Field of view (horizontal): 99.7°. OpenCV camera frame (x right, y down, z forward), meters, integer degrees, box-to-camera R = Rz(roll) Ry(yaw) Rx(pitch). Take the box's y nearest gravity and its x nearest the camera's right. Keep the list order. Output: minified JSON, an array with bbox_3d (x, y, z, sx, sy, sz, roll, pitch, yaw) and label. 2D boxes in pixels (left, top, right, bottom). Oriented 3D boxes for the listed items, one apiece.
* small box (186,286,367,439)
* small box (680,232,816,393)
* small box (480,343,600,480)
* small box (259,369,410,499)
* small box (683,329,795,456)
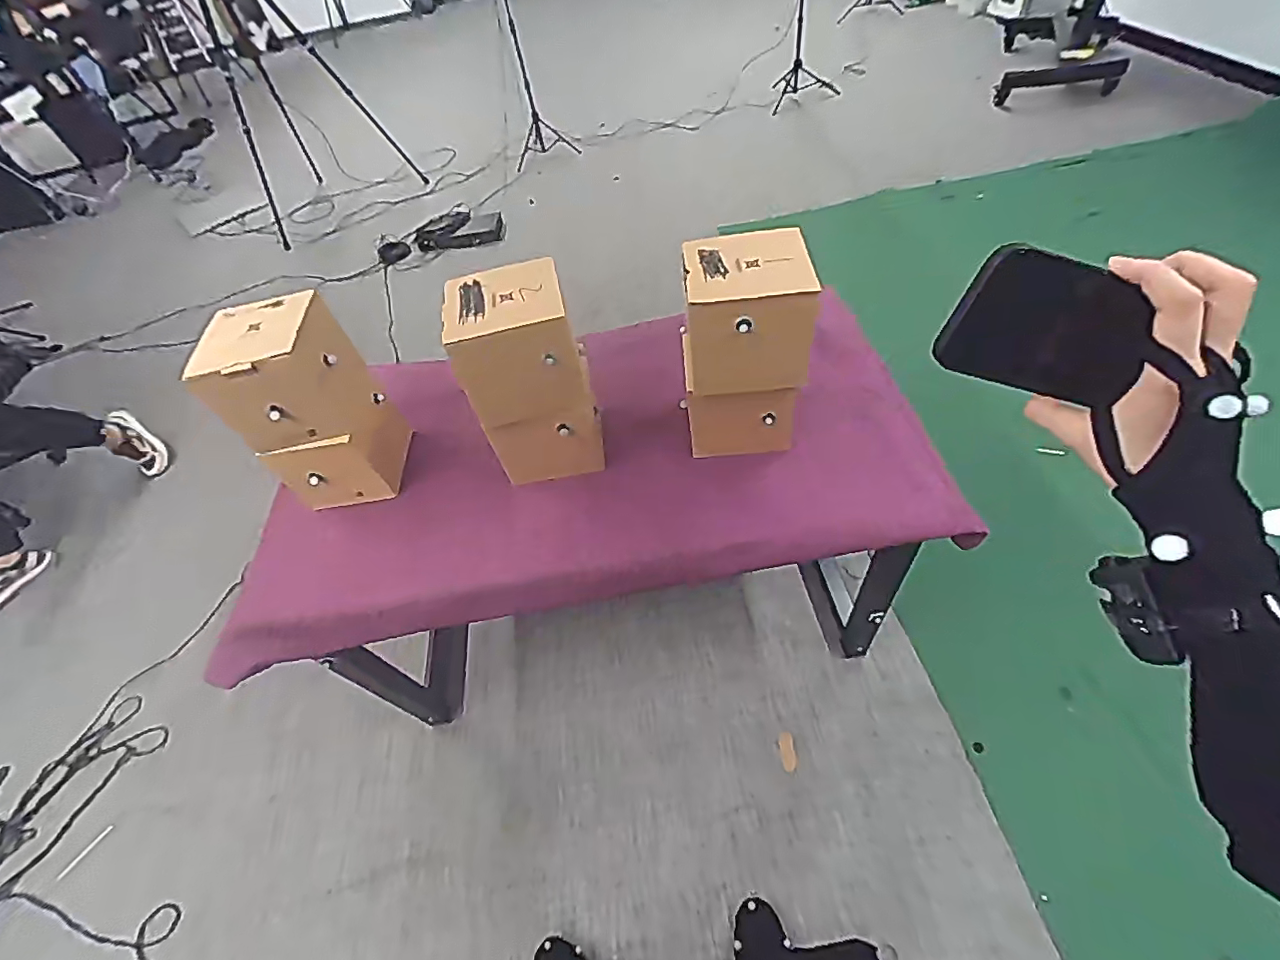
[{"bbox_3d":[-0.579,-0.185,0.892,0.168,0.176,0.179,-12,52,0],"label":"small box"},{"bbox_3d":[0.156,-0.247,0.818,0.179,0.176,0.168,-3,52,6],"label":"small box"},{"bbox_3d":[-0.170,-0.120,0.981,0.179,0.176,0.168,-9,52,3],"label":"small box"},{"bbox_3d":[-0.557,-0.078,1.016,0.168,0.176,0.179,-8,52,3],"label":"small box"},{"bbox_3d":[0.168,-0.158,0.956,0.179,0.176,0.168,-4,52,8],"label":"small box"}]
